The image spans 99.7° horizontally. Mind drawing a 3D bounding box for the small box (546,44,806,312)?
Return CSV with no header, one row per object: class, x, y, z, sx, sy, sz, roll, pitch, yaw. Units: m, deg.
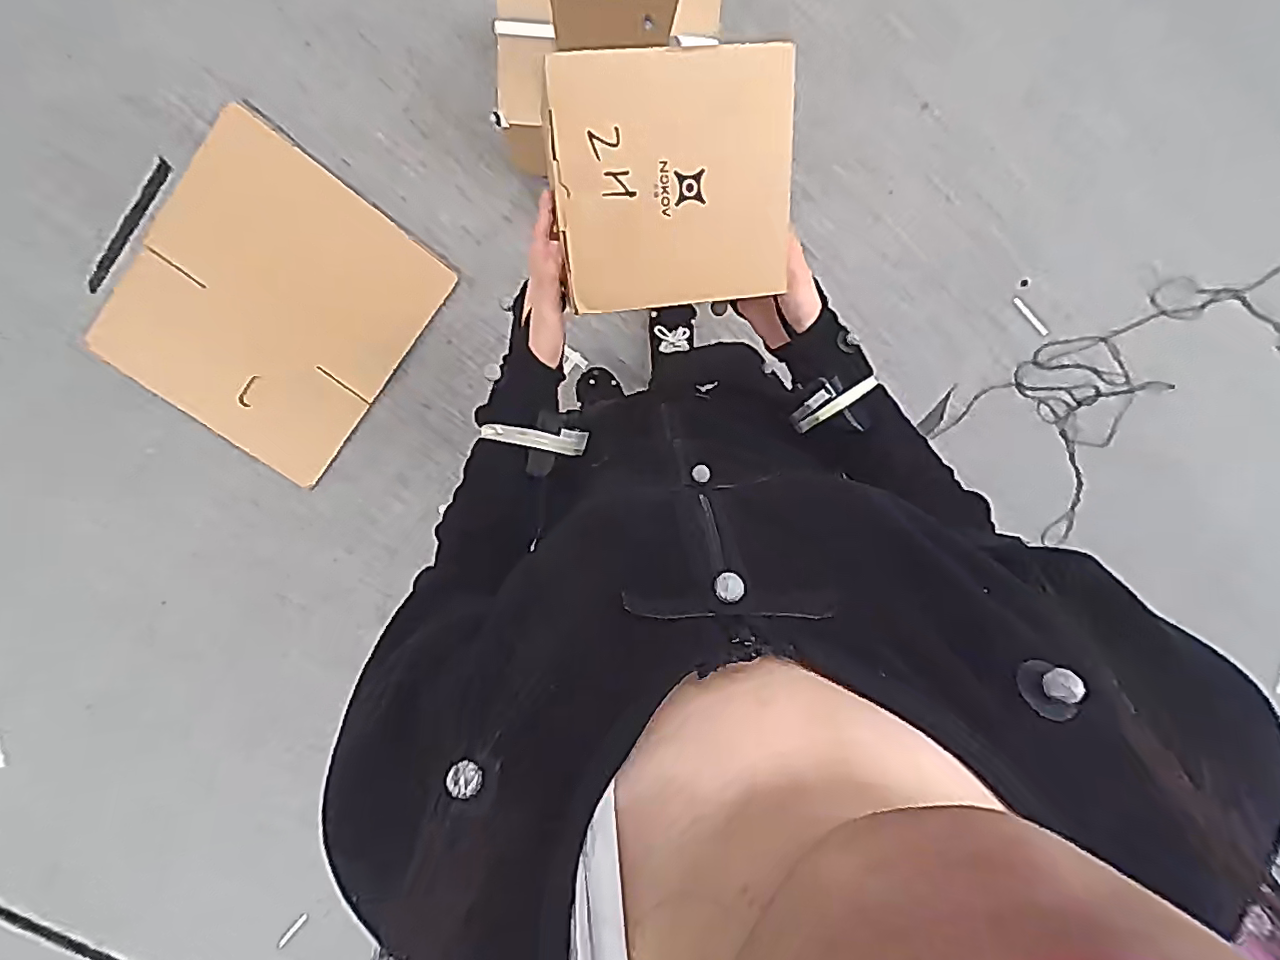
small box,0.019,-0.245,0.461,0.179,0.176,0.168,-8,115,-7
